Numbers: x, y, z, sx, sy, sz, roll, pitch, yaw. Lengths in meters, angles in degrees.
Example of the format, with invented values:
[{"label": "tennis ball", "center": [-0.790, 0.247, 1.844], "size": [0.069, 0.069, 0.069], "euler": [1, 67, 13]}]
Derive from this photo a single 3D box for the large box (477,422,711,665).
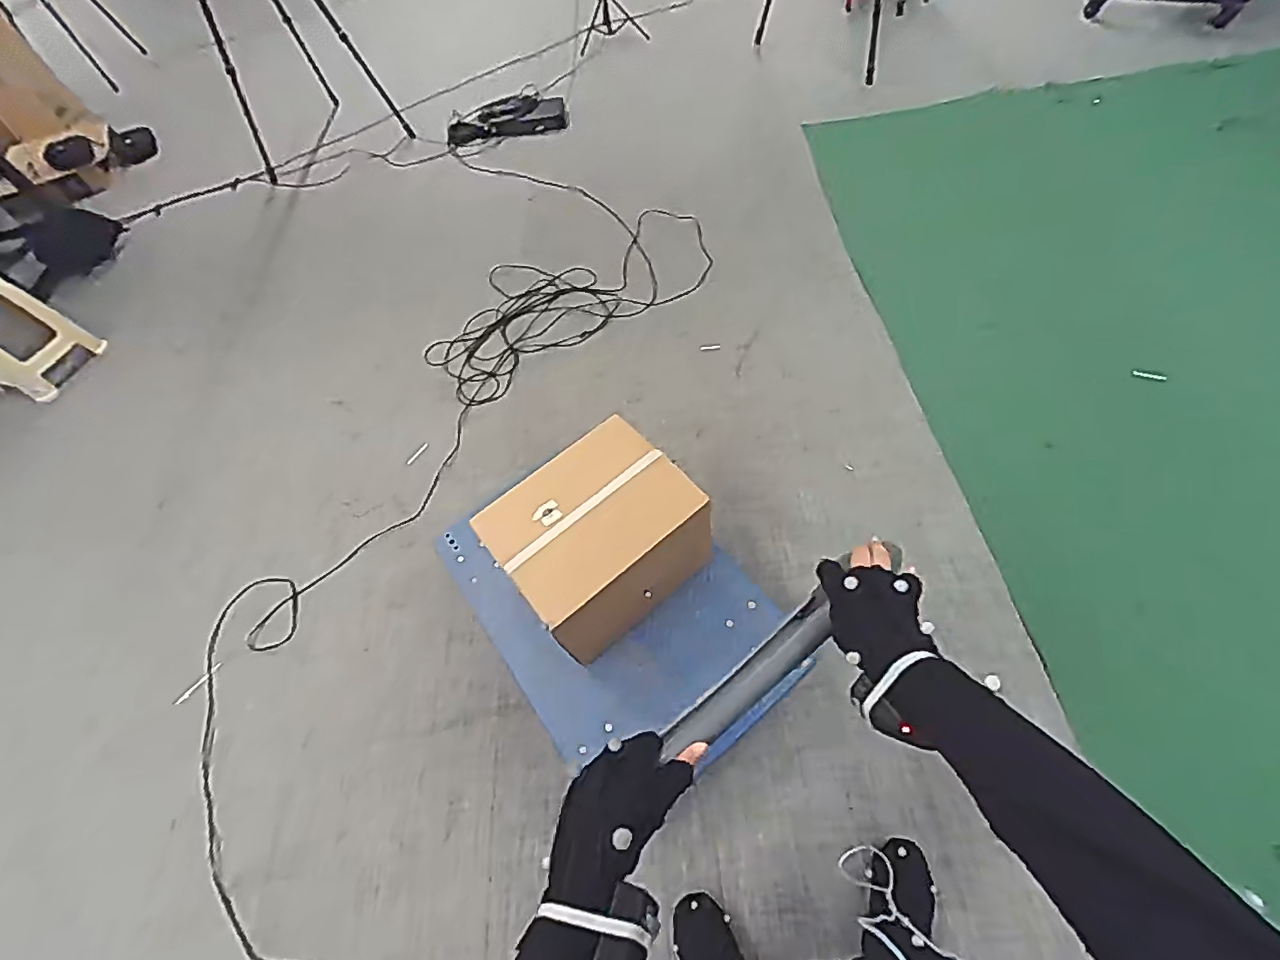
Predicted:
[{"label": "large box", "center": [-0.083, 0.150, 1.252], "size": [0.408, 0.320, 0.320], "euler": [-39, 60, -13]}]
